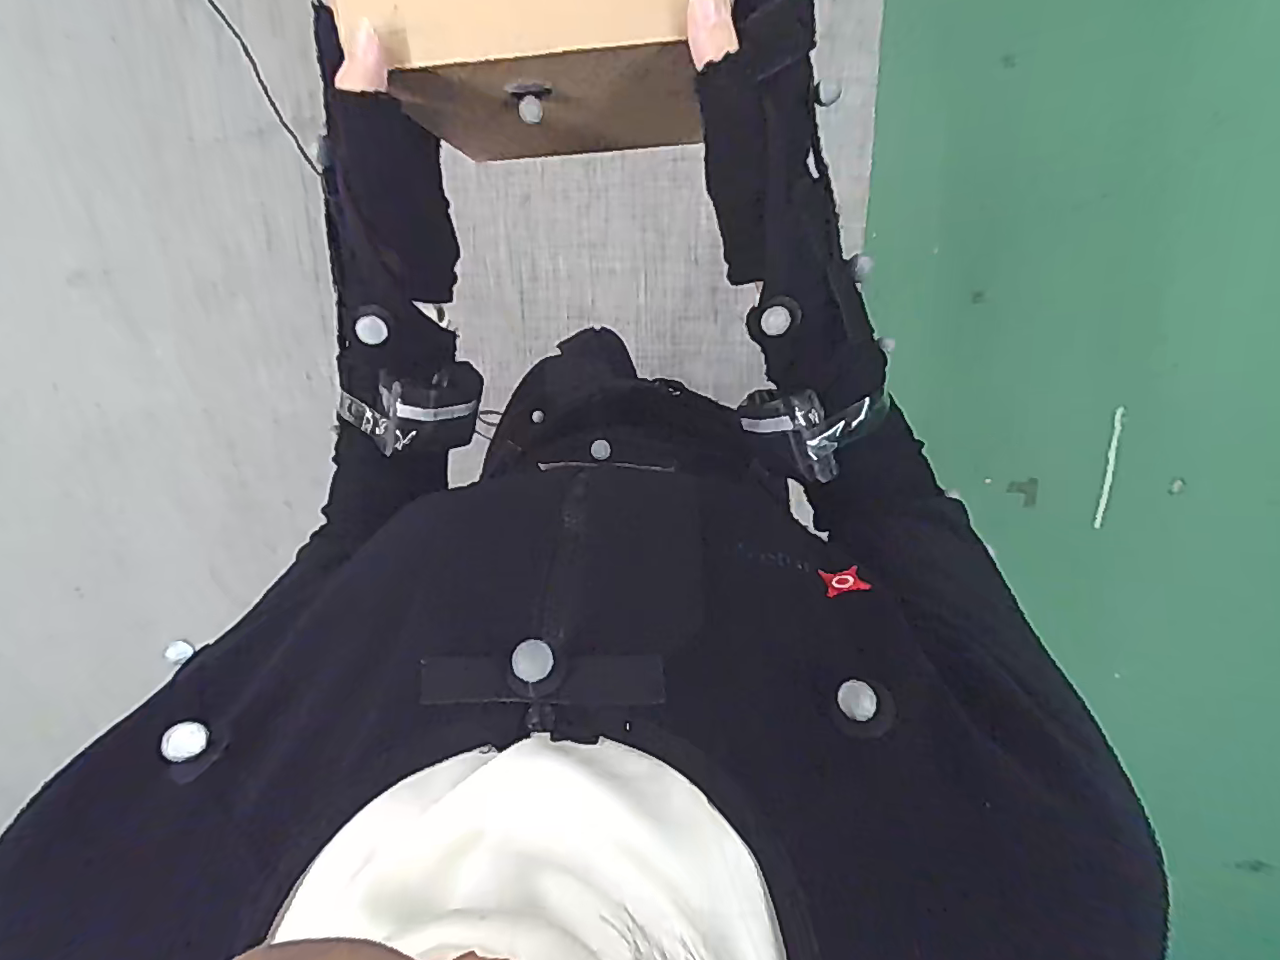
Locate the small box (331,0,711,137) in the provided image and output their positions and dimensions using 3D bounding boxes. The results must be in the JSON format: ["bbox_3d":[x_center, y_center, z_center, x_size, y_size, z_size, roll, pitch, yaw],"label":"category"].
[{"bbox_3d":[-0.051,-0.306,0.293,0.179,0.176,0.168,-2,108,4],"label":"small box"}]
